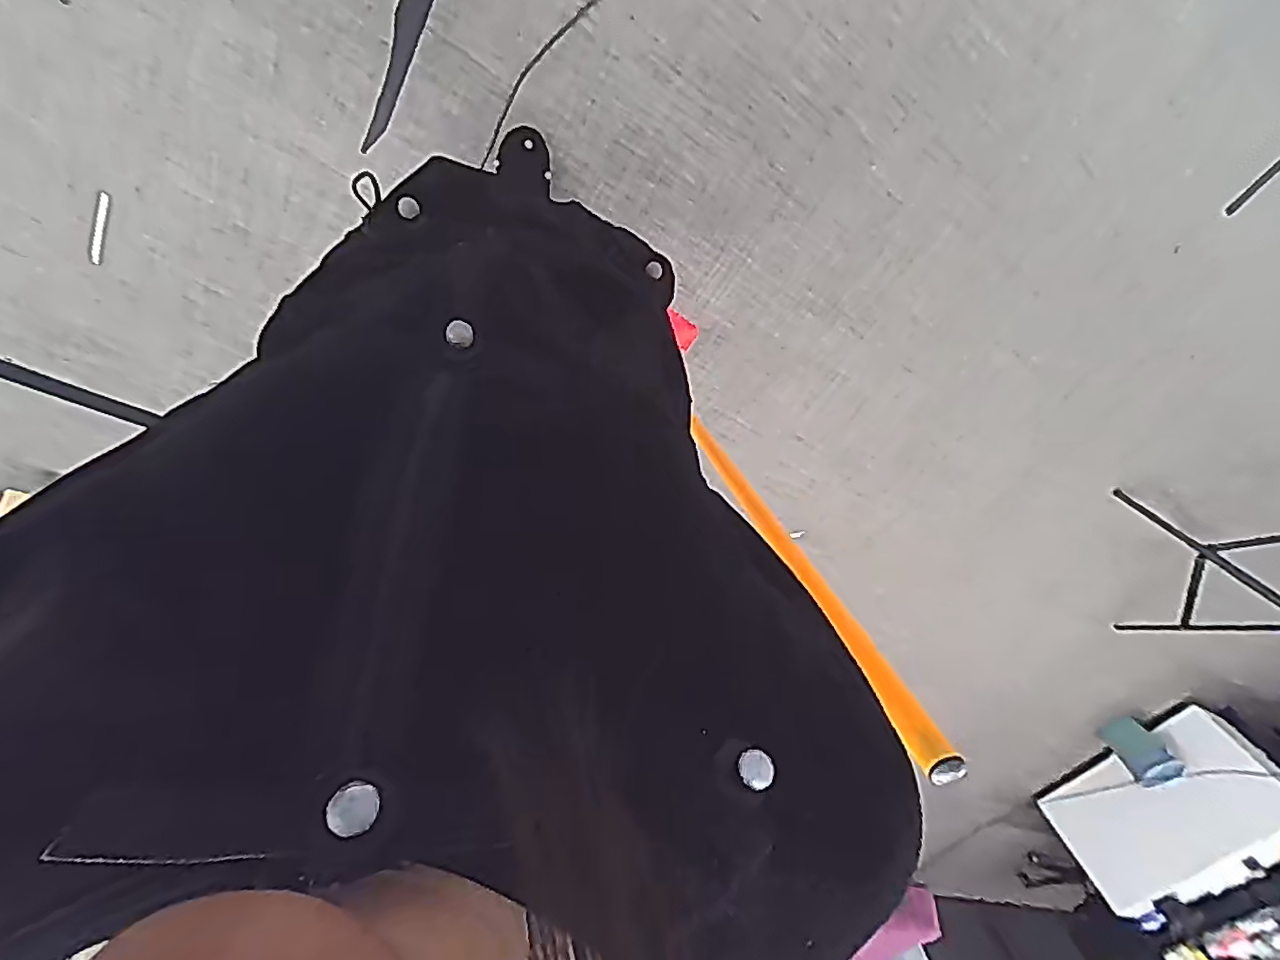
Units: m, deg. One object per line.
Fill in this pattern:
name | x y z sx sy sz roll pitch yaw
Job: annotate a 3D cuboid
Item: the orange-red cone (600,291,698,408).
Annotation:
orange-red cone | 0.047 -0.256 1.227 0.198 0.360 0.199 29 115 -25
